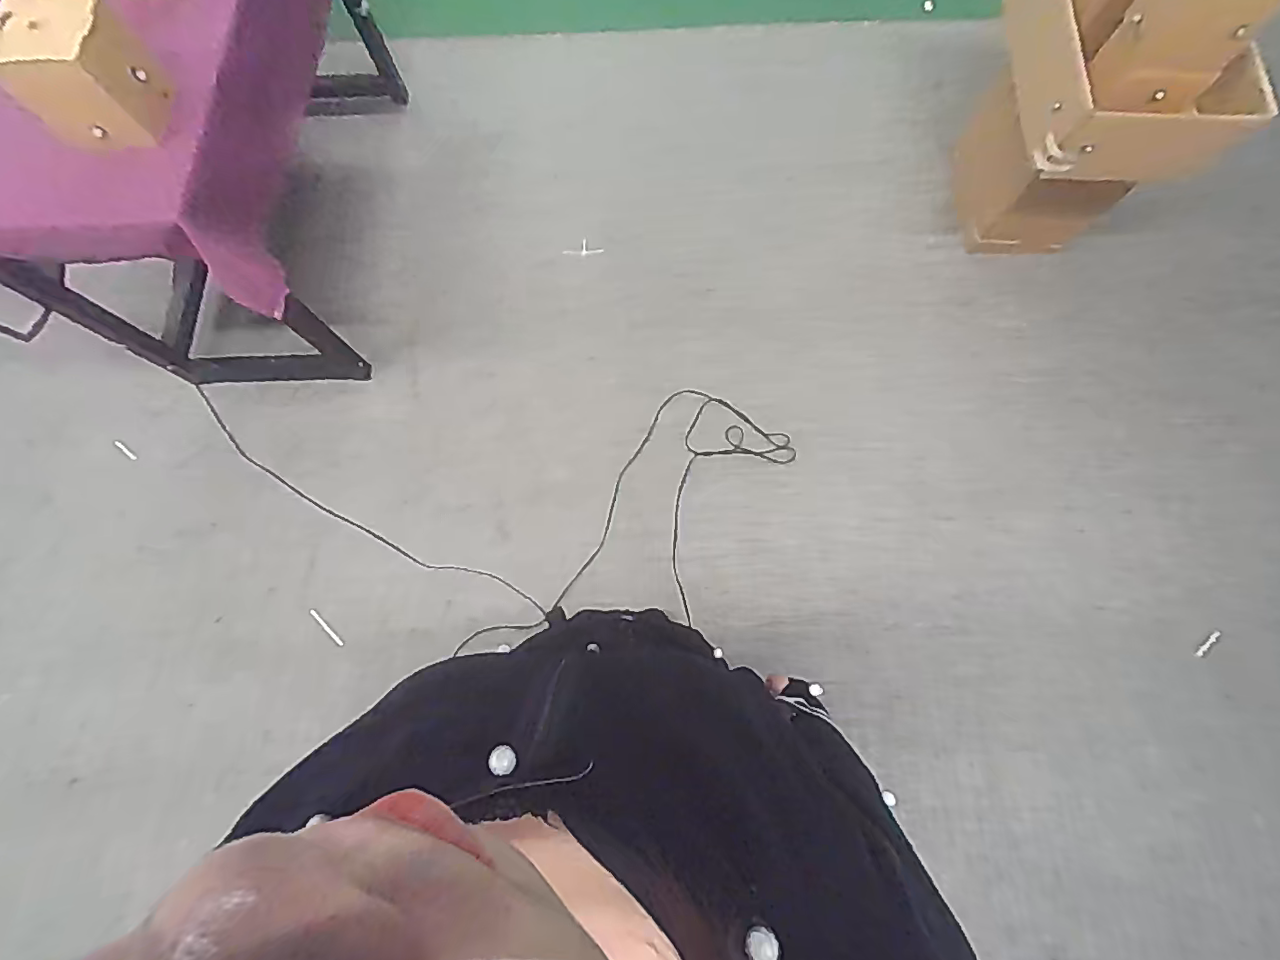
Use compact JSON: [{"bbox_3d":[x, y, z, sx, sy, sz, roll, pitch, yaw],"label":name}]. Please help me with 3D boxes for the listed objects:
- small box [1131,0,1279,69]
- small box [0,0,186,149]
[{"bbox_3d":[1.154,-0.970,1.088,0.179,0.176,0.168,5,74,5],"label":"small box"},{"bbox_3d":[-1.010,-0.750,1.010,0.179,0.176,0.168,-1,74,2],"label":"small box"}]
